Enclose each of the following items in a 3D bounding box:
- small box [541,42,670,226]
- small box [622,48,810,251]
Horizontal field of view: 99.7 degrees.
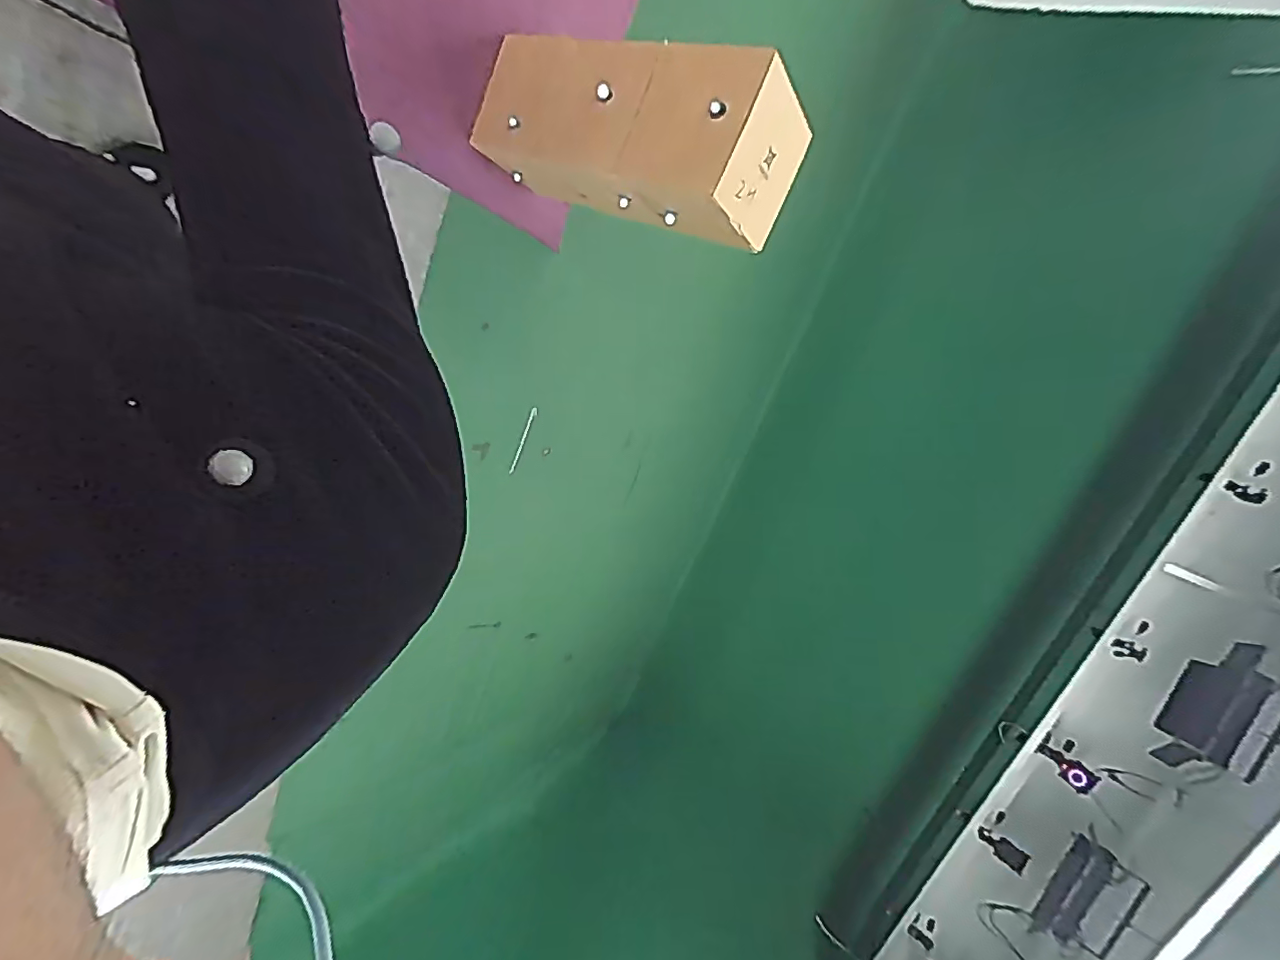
[{"bbox_3d":[-0.023,-0.523,0.824,0.168,0.176,0.179,7,110,-57],"label":"small box"},{"bbox_3d":[0.102,-0.451,0.743,0.168,0.176,0.179,8,110,-58],"label":"small box"}]
